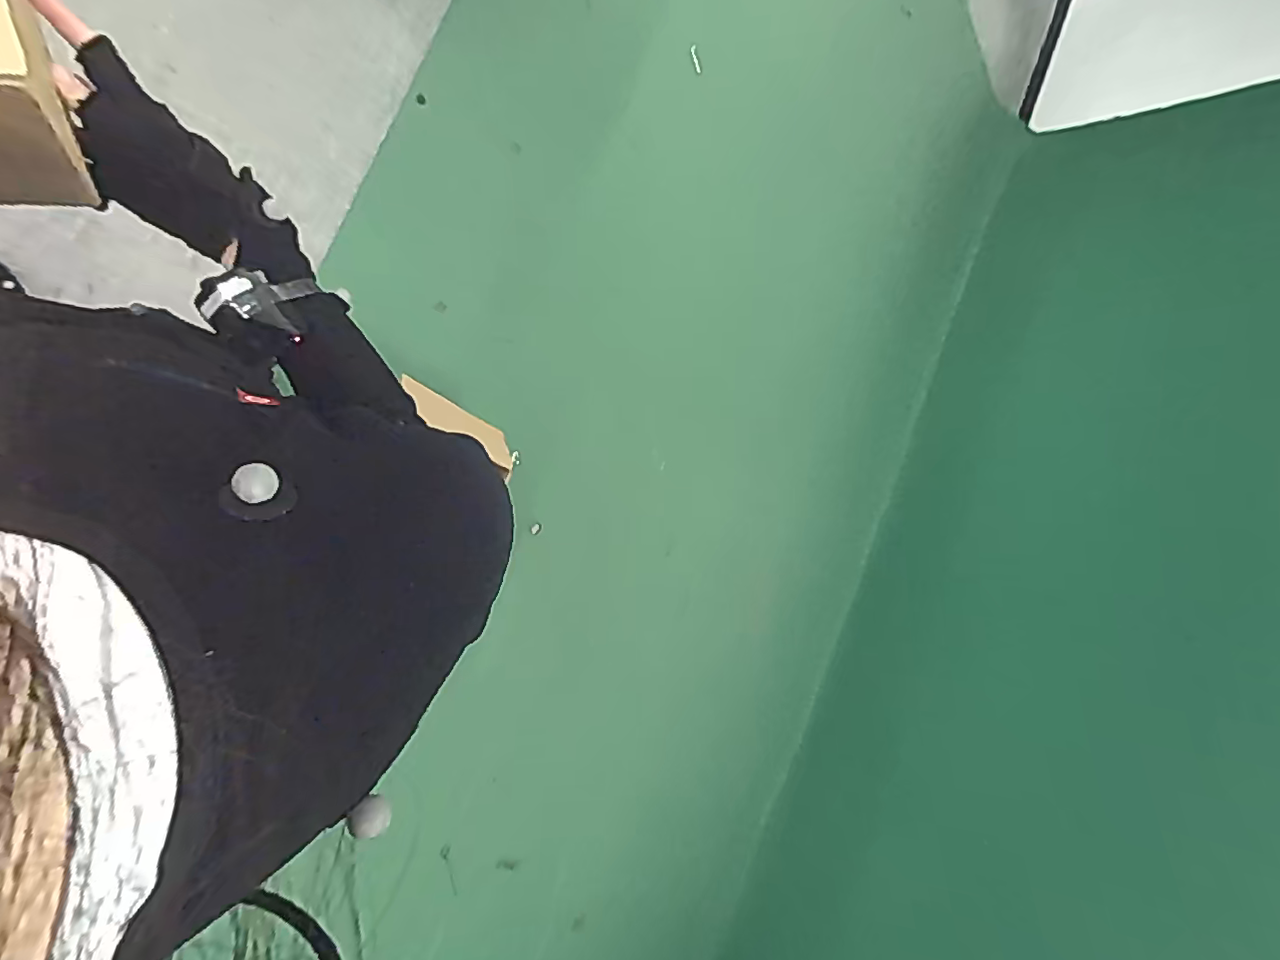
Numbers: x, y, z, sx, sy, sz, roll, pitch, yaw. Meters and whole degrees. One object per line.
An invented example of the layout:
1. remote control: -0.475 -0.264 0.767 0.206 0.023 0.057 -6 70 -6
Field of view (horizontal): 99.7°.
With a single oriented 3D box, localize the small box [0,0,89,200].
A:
1. small box: -0.414 -0.253 0.258 0.168 0.176 0.179 -19 104 -36
